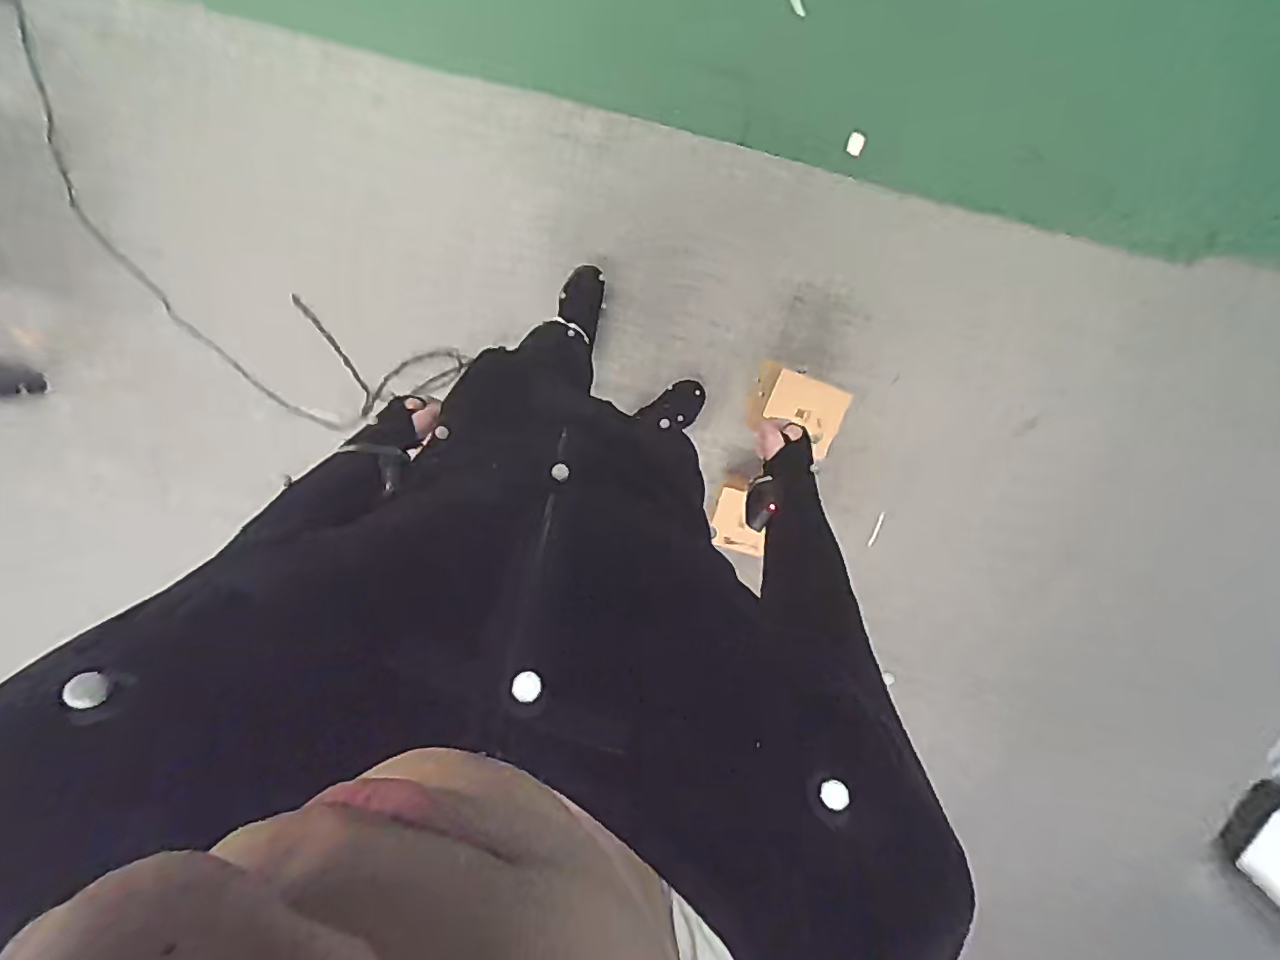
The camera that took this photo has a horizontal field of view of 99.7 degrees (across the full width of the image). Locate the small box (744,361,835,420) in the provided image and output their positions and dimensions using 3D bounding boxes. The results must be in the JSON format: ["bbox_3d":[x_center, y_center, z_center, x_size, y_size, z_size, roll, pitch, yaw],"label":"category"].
[{"bbox_3d":[0.395,-0.218,1.464,0.179,0.176,0.168,20,107,-1],"label":"small box"}]

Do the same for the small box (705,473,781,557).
[{"bbox_3d":[0.289,0.094,1.561,0.168,0.176,0.179,17,106,1],"label":"small box"}]

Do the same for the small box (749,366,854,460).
[{"bbox_3d":[0.378,-0.169,1.307,0.179,0.176,0.168,21,107,-1],"label":"small box"}]
